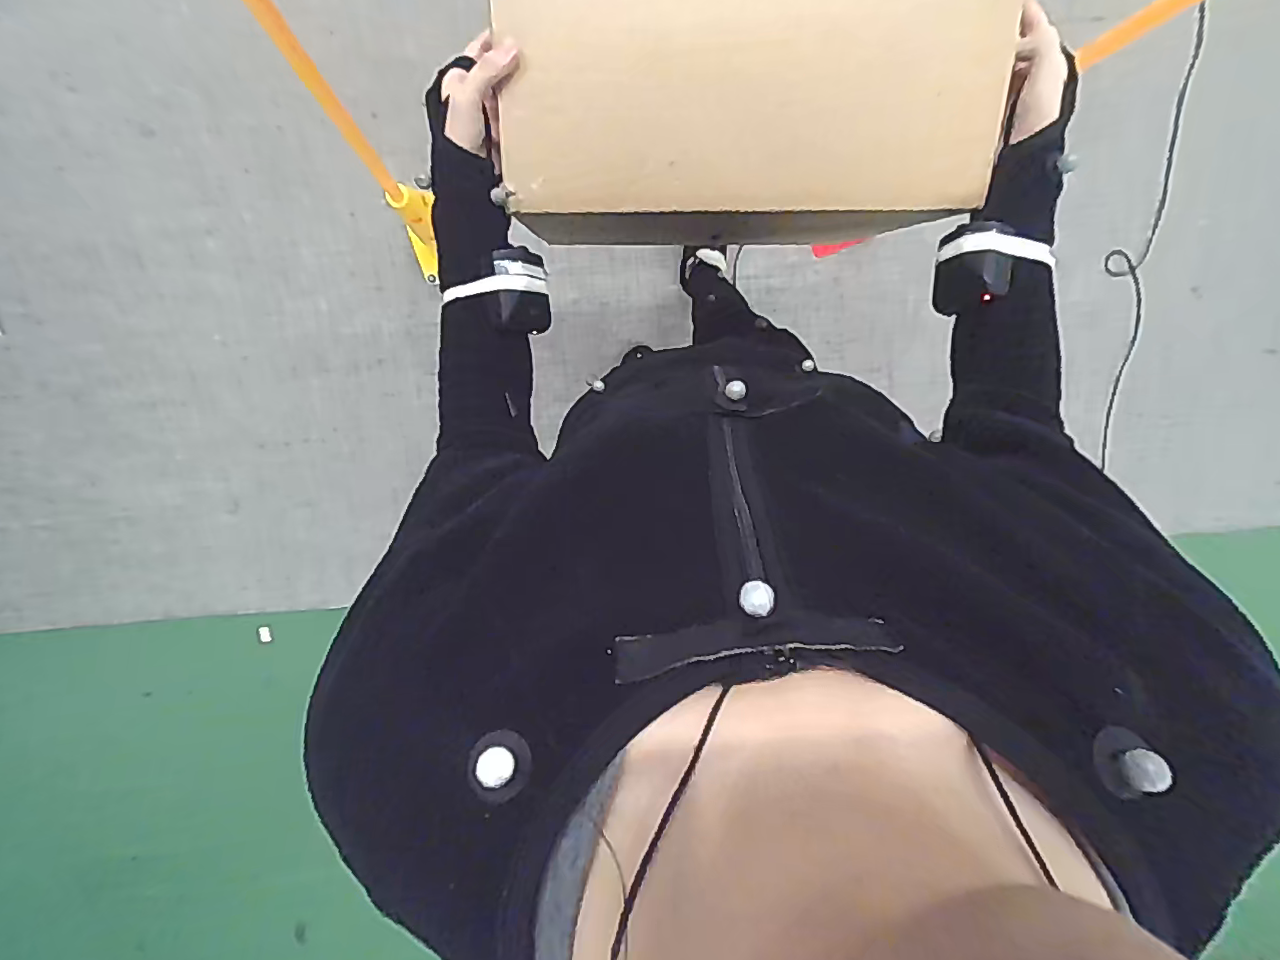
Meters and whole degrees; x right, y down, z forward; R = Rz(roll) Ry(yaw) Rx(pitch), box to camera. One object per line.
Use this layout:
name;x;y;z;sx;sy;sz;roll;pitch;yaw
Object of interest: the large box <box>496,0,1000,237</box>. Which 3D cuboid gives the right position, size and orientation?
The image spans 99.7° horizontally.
large box;0.083;-0.433;0.556;0.408;0.320;0.320;-2;108;-2
